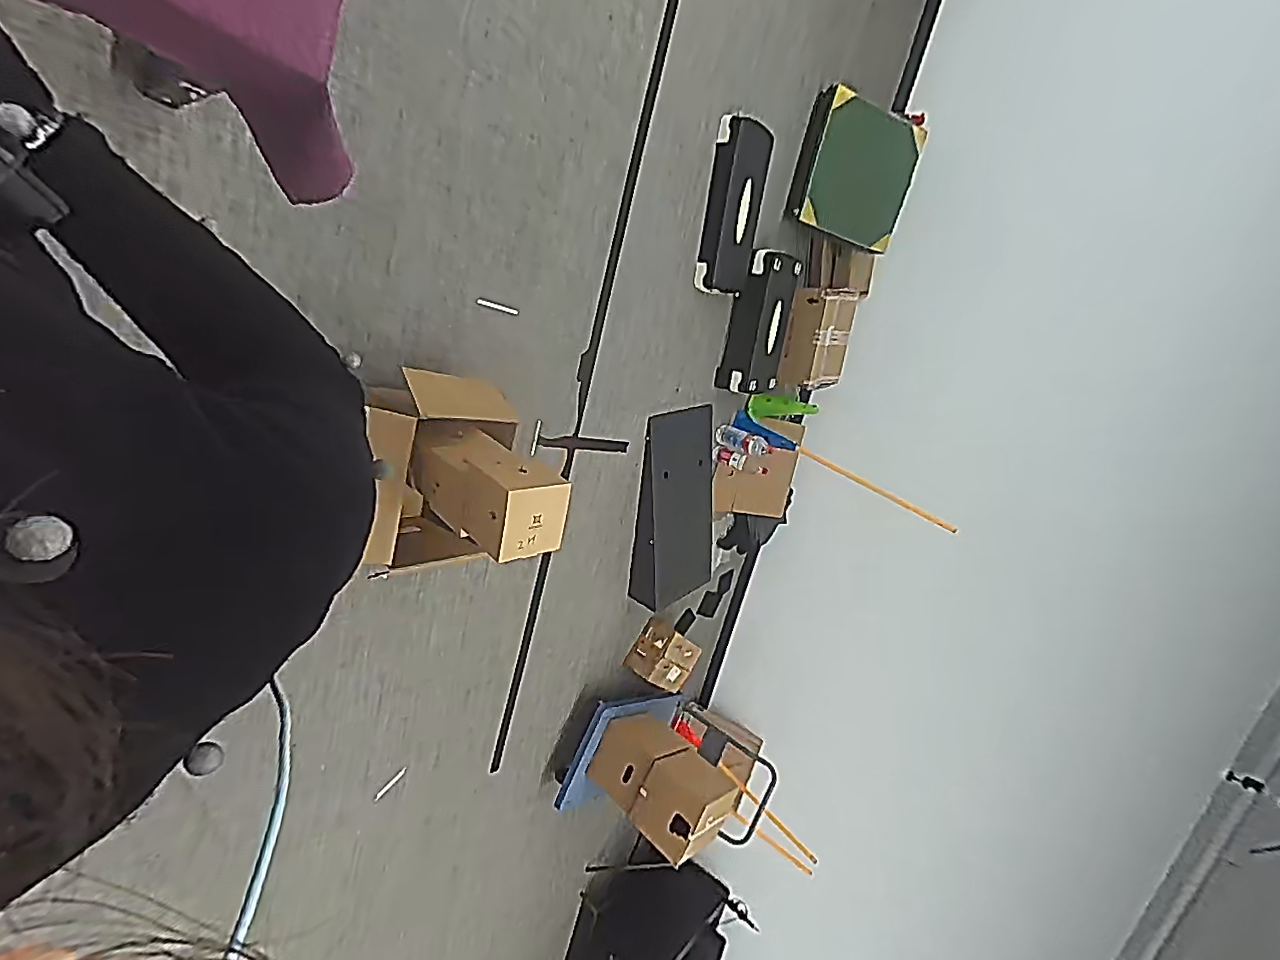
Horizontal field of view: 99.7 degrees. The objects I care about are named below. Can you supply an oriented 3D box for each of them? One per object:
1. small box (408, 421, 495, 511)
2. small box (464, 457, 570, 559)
[{"bbox_3d":[-0.506,-0.048,1.463,0.168,0.176,0.179,-24,131,-38],"label":"small box"},{"bbox_3d":[-0.286,0.053,1.238,0.168,0.176,0.179,-8,119,-45],"label":"small box"}]
